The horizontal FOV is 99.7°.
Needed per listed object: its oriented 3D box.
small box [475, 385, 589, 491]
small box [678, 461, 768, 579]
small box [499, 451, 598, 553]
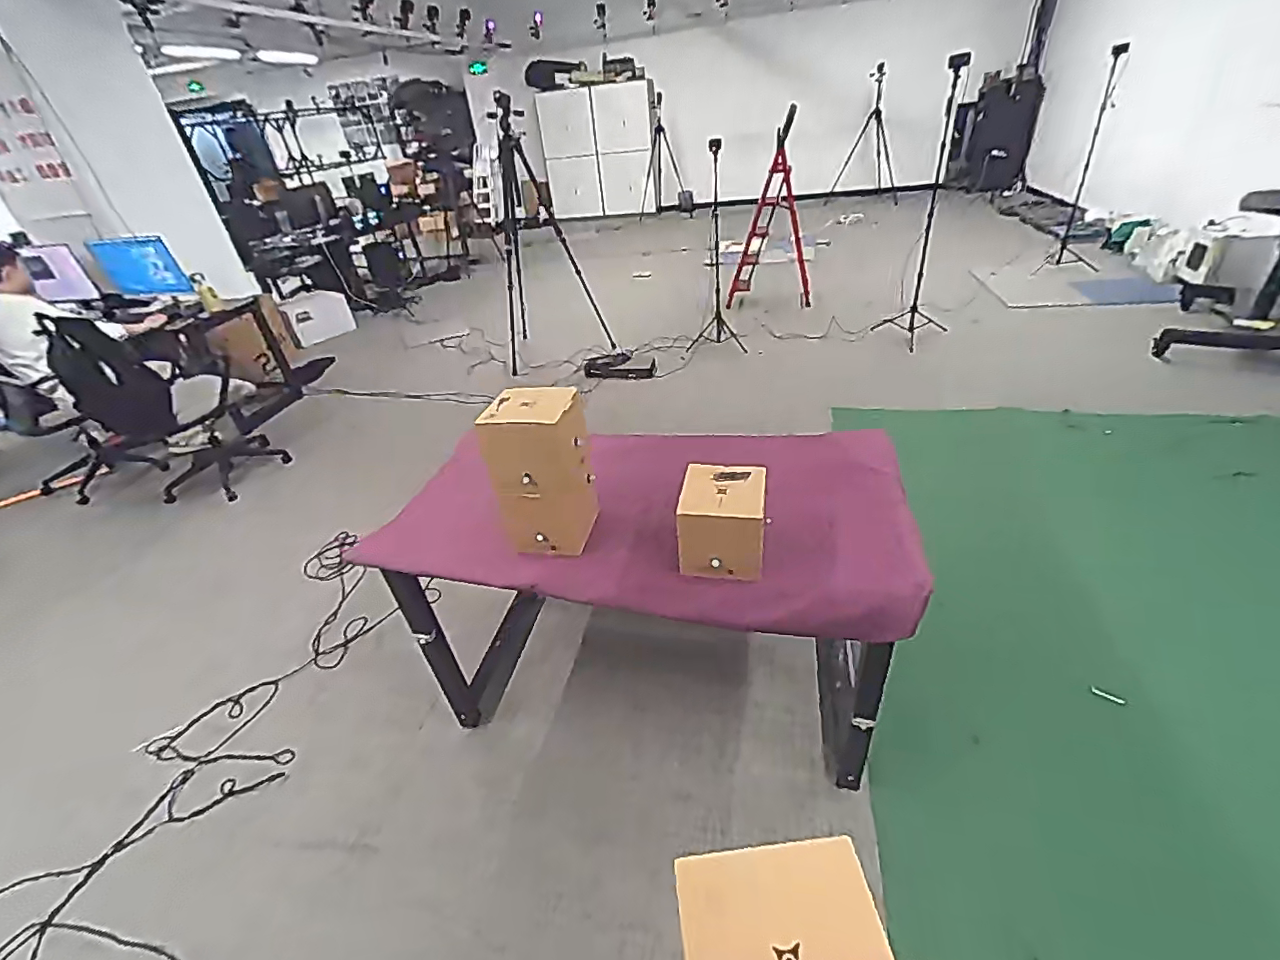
[{"bbox_3d":[-0.218,-0.089,1.150,0.179,0.176,0.168,2,34,12],"label":"small box"},{"bbox_3d":[0.176,0.080,1.123,0.168,0.176,0.179,2,36,14],"label":"small box"},{"bbox_3d":[-0.199,0.046,1.241,0.168,0.176,0.179,1,34,13],"label":"small box"}]
